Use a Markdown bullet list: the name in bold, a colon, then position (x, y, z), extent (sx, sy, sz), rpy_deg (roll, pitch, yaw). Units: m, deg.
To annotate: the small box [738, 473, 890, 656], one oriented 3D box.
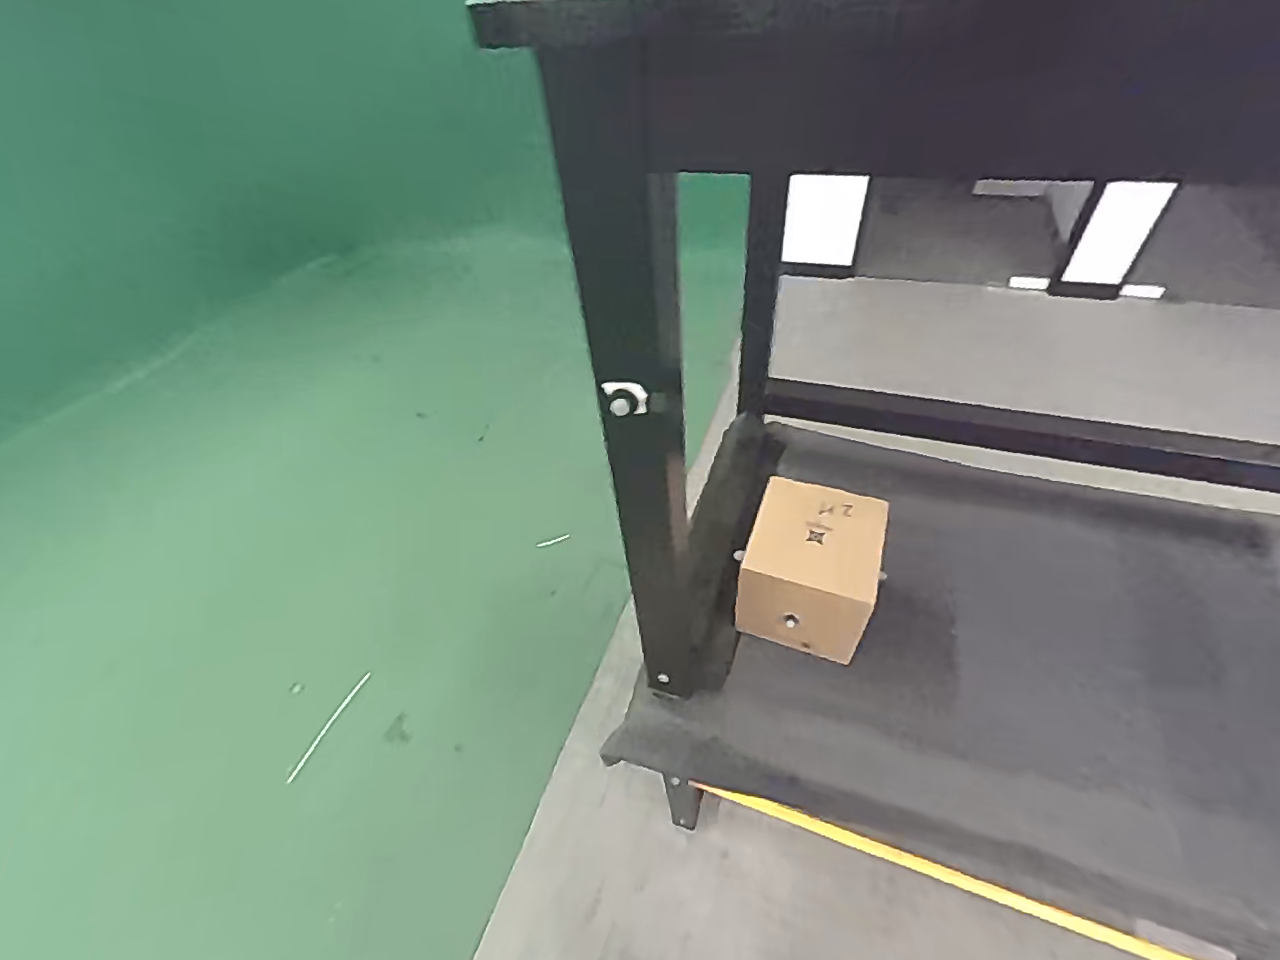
- **small box**: position (0.241, 0.122, 0.771), extent (0.168, 0.176, 0.179), rpy_deg (14, 50, 18)
